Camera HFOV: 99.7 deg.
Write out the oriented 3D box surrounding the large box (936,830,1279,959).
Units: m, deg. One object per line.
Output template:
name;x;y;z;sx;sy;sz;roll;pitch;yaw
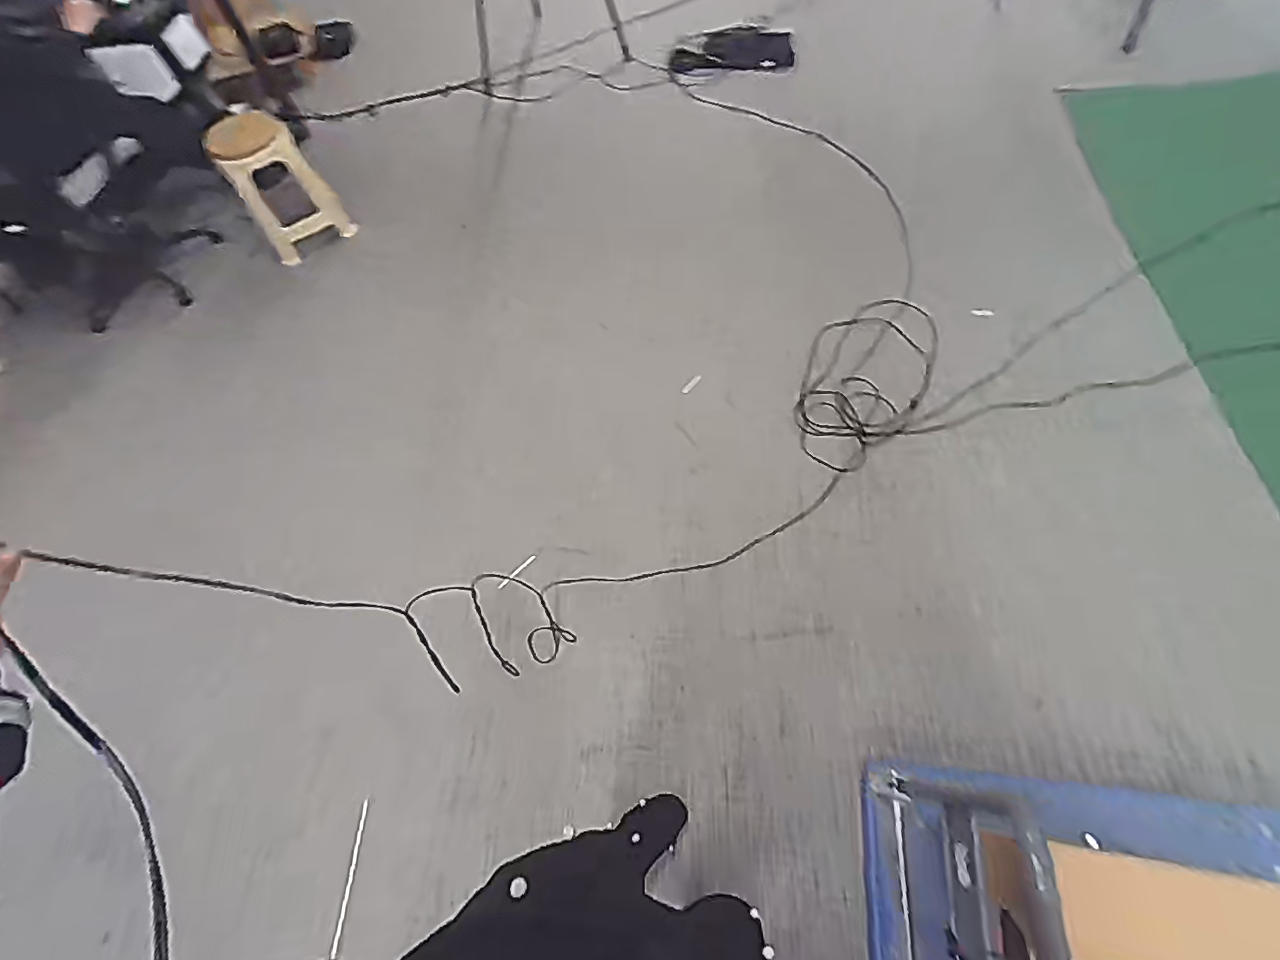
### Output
large box;0.781;0.808;0.907;0.408;0.320;0.320;6;63;8
